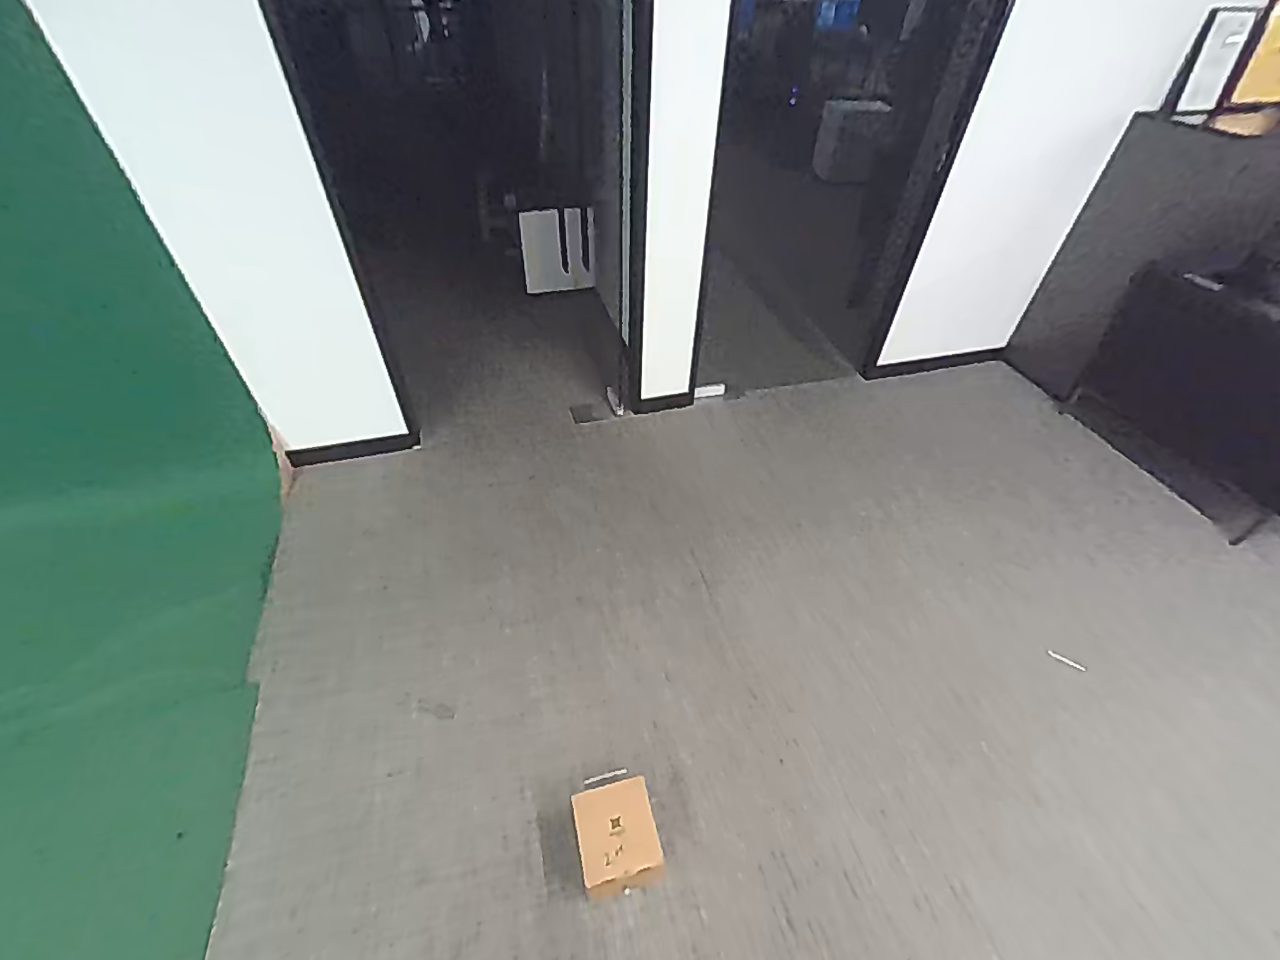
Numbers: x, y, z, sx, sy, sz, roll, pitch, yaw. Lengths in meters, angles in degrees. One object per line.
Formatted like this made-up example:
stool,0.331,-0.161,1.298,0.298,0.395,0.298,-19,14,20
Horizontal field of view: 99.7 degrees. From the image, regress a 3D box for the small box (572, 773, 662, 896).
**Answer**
small box,-0.056,0.791,1.206,0.168,0.176,0.179,-10,47,-11
